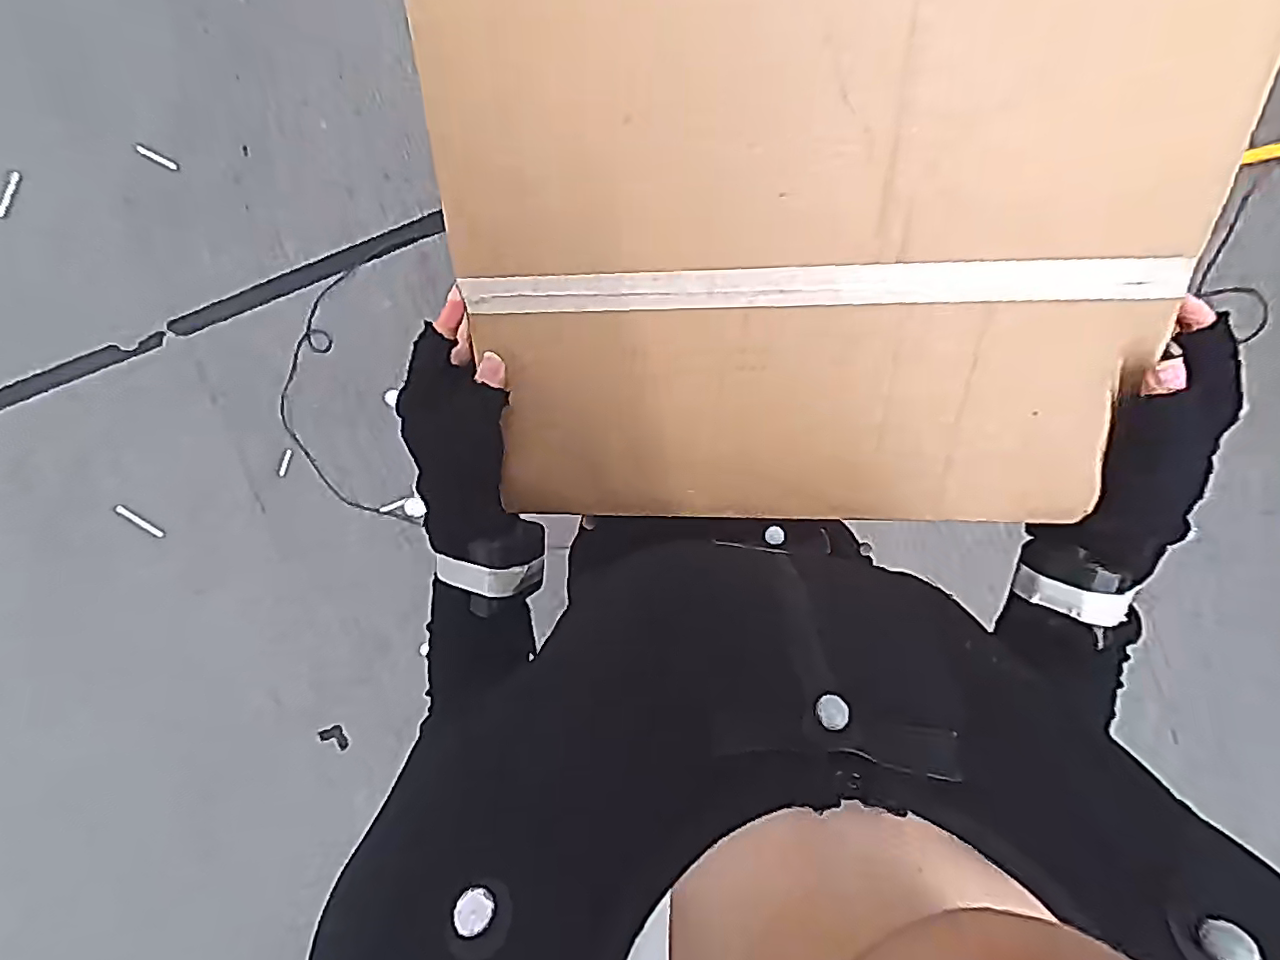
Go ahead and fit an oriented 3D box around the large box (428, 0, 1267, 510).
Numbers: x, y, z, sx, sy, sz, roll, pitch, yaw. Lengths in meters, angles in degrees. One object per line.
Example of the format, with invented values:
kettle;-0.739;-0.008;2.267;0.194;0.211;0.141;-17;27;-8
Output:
large box;0.105;-0.184;0.453;0.408;0.320;0.320;1;119;5
